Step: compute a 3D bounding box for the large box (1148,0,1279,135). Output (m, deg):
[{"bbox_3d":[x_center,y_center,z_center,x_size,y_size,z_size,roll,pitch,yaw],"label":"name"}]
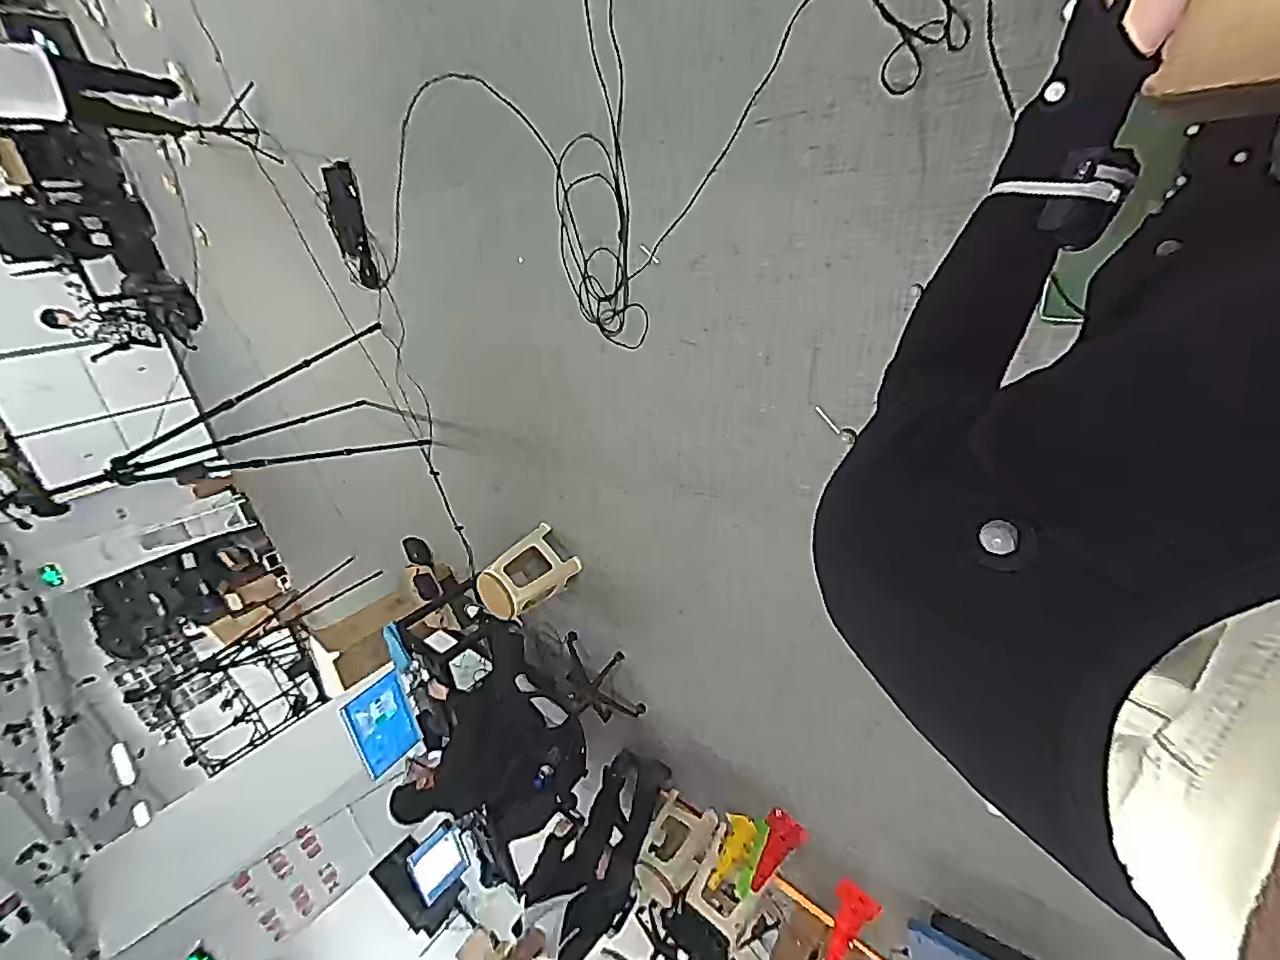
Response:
[{"bbox_3d":[0.614,-0.430,0.320,0.408,0.320,0.320,18,122,39],"label":"large box"}]
